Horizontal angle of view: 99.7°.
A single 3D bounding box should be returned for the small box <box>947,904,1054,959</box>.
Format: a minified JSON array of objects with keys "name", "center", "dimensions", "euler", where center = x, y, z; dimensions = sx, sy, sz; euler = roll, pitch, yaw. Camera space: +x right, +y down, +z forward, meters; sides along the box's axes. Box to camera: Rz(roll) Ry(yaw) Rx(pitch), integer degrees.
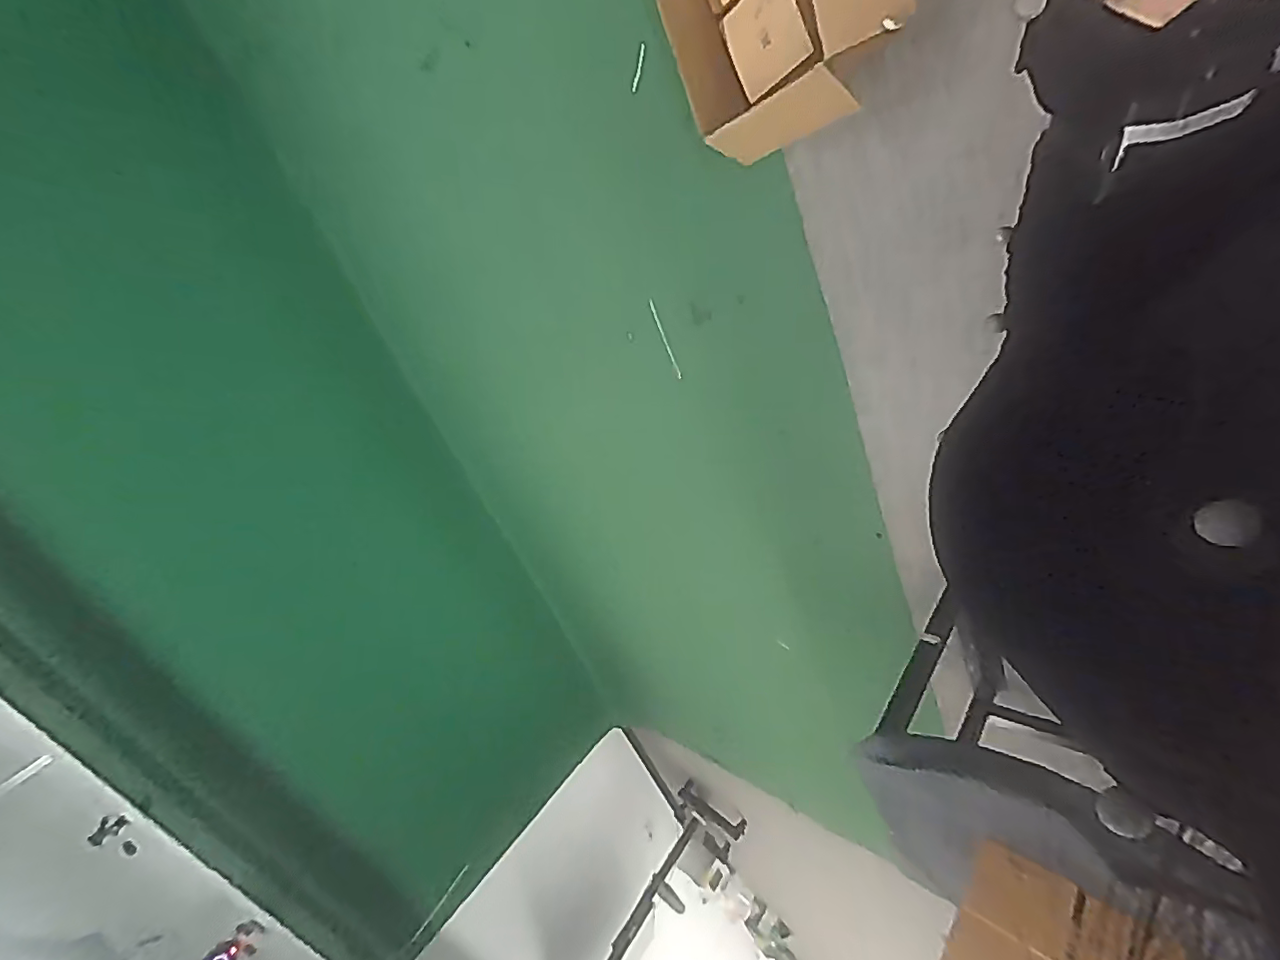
[{"name":"small box","center":[0.733,1.029,1.102],"dimensions":[0.179,0.176,0.168],"euler":[15,133,43]}]
